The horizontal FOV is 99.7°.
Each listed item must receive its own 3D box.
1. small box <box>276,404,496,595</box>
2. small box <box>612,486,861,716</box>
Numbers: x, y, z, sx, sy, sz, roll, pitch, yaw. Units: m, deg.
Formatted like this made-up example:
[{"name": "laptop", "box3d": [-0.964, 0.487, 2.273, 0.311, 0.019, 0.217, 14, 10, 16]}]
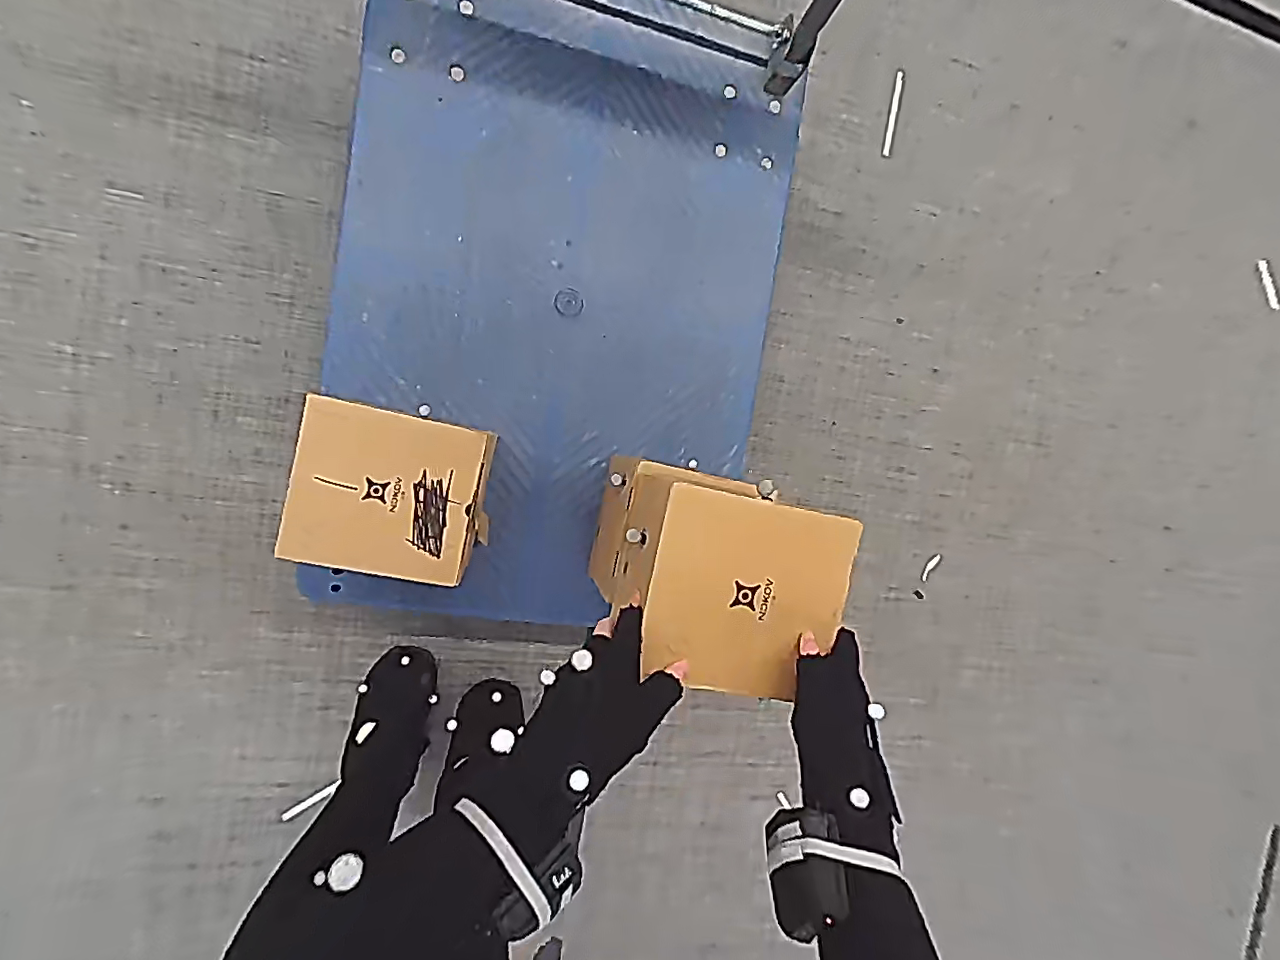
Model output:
[{"name": "small box", "box3d": [-0.269, 0.016, 0.619, 0.179, 0.176, 0.168, 13, 91, -12]}, {"name": "small box", "box3d": [0.077, 0.103, 0.529, 0.179, 0.176, 0.168, 12, 91, -11]}]
